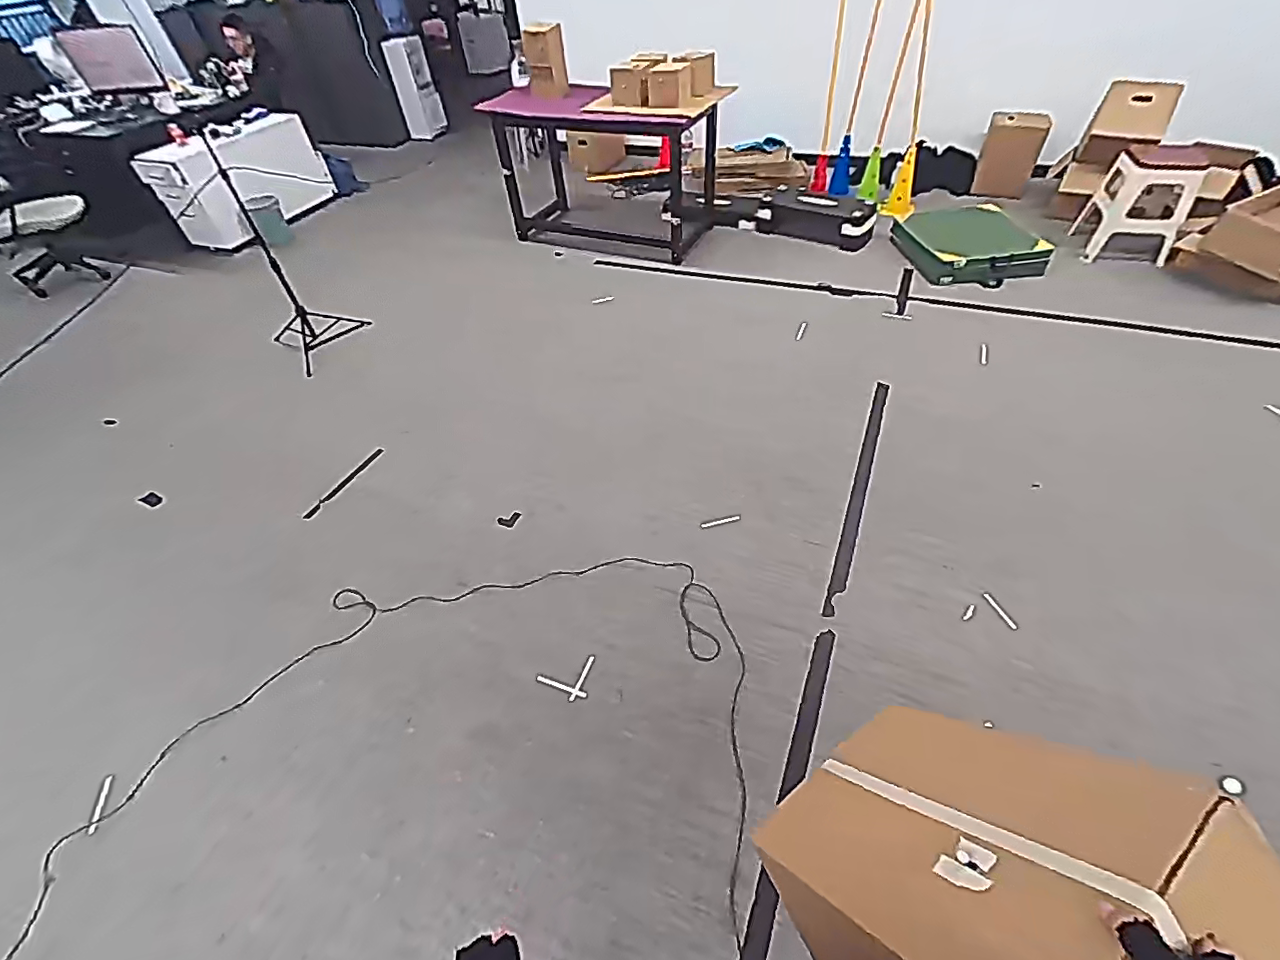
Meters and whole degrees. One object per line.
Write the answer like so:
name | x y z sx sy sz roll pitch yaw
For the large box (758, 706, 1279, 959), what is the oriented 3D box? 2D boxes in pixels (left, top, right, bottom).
large box | 0.417 0.513 0.610 0.320 0.408 0.320 -28 90 -23
